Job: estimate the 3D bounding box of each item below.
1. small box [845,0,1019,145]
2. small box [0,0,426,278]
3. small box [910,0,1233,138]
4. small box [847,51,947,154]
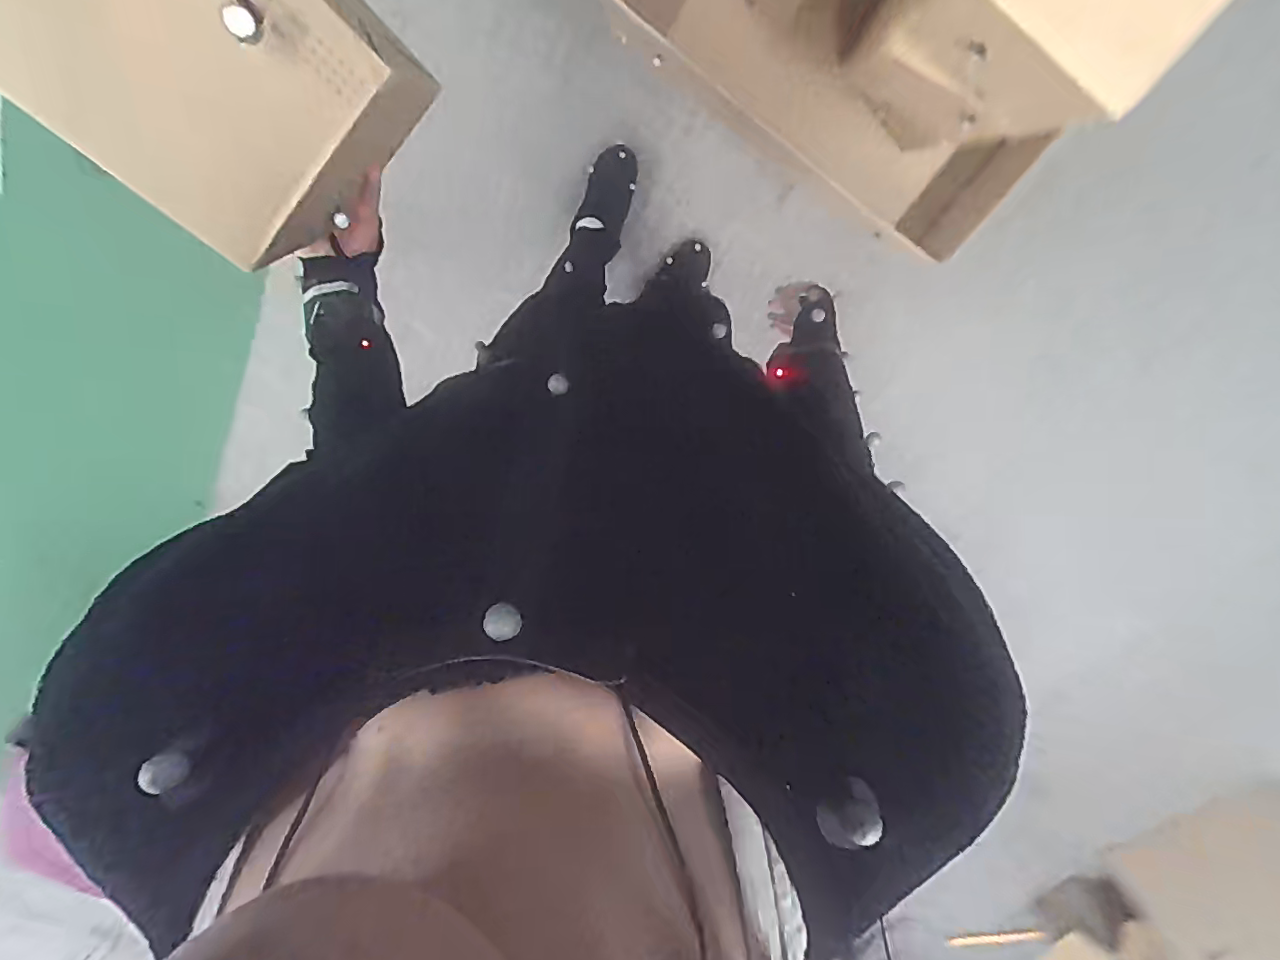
[{"bbox_3d":[0.352,-0.483,0.574,0.179,0.176,0.168,26,116,-7],"label":"small box"},{"bbox_3d":[-0.270,-0.275,0.364,0.176,0.179,0.168,-42,120,17],"label":"small box"},{"bbox_3d":[0.348,-0.408,0.430,0.168,0.176,0.179,33,115,-10],"label":"small box"},{"bbox_3d":[0.397,-0.564,0.714,0.168,0.176,0.179,42,114,-15],"label":"small box"}]
